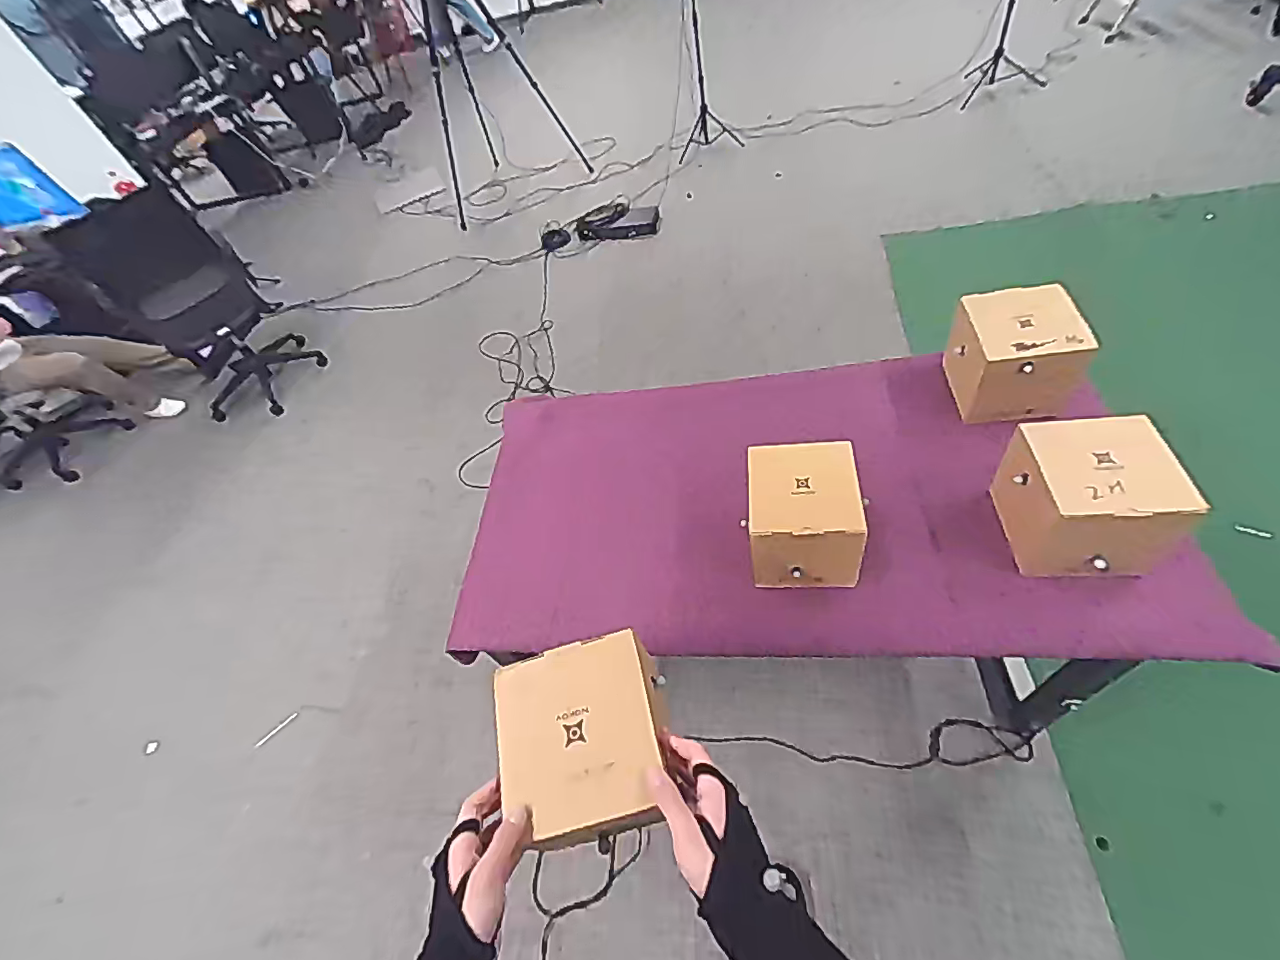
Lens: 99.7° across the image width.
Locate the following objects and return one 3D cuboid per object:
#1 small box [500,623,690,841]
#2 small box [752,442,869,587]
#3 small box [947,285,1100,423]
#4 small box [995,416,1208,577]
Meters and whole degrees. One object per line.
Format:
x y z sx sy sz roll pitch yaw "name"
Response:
-0.048 0.294 0.622 0.168 0.176 0.179 -17 54 2 "small box"
0.270 0.059 0.895 0.168 0.176 0.179 -2 52 12 "small box"
0.691 -0.229 1.002 0.168 0.176 0.179 -5 53 14 "small box"
0.664 0.028 0.810 0.168 0.176 0.179 -3 51 14 "small box"
